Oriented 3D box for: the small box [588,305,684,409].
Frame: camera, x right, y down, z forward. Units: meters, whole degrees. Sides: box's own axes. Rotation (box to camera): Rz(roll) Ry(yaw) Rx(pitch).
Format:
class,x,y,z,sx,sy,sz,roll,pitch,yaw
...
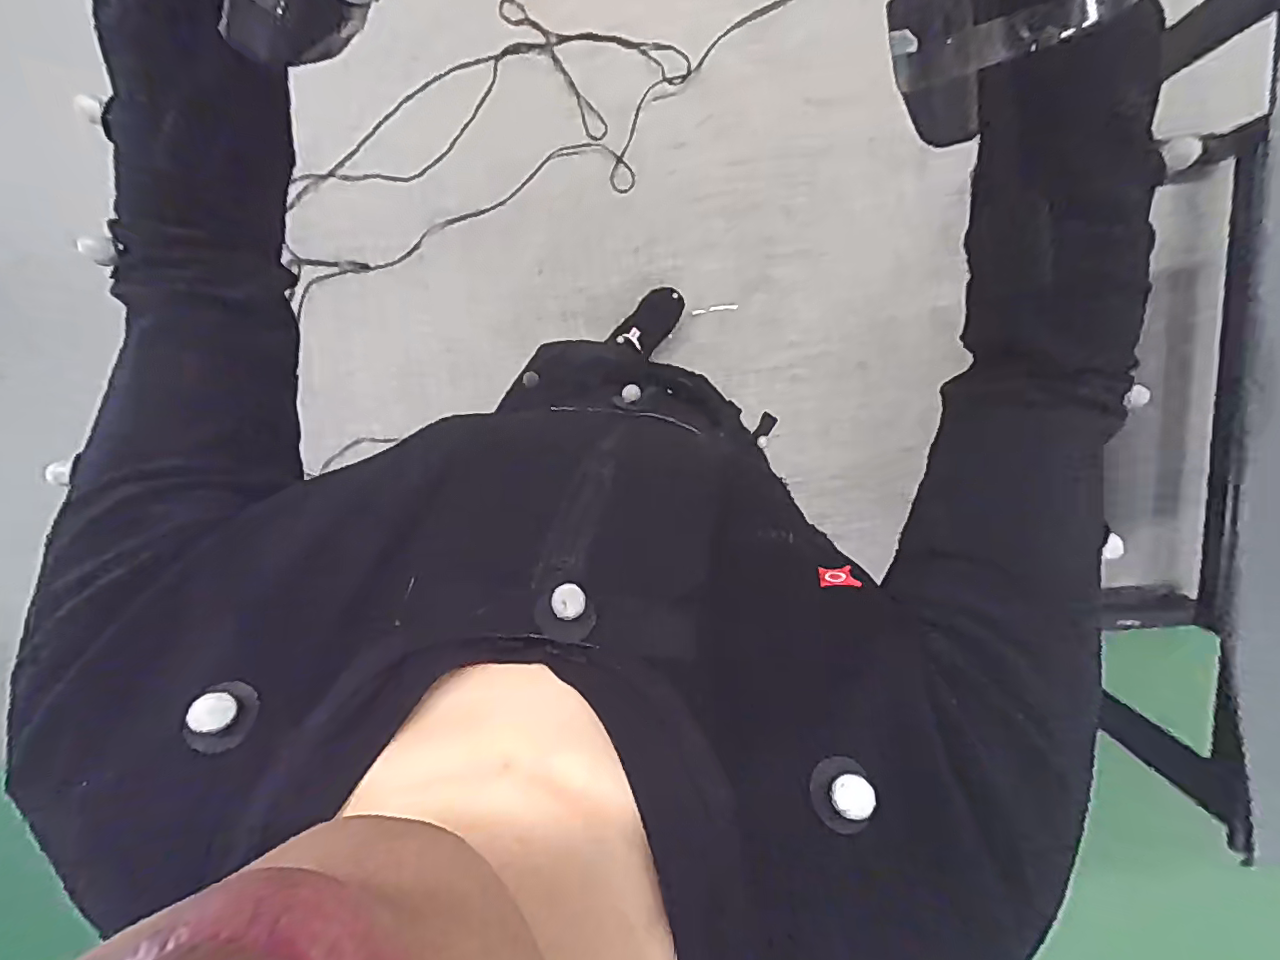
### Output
class,x,y,z,sx,sy,sz,roll,pitch,yaw
small box,-0.002,-0.311,1.352,0.179,0.176,0.168,-29,113,21
